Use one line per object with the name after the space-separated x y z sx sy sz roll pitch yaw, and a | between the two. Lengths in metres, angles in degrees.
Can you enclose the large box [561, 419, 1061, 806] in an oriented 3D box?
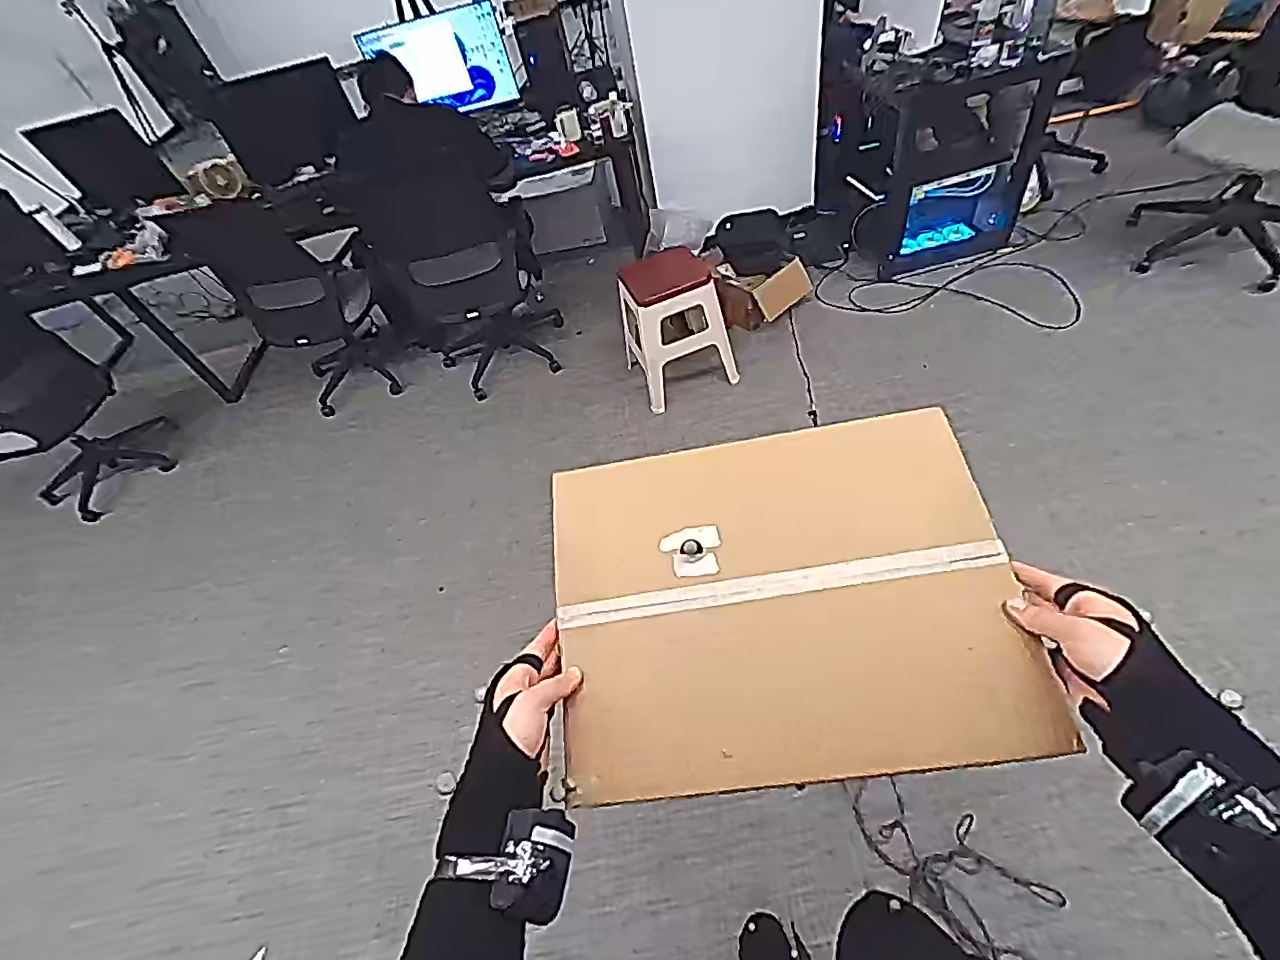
0.151 0.169 0.643 0.408 0.320 0.320 -10 63 6 | large box
